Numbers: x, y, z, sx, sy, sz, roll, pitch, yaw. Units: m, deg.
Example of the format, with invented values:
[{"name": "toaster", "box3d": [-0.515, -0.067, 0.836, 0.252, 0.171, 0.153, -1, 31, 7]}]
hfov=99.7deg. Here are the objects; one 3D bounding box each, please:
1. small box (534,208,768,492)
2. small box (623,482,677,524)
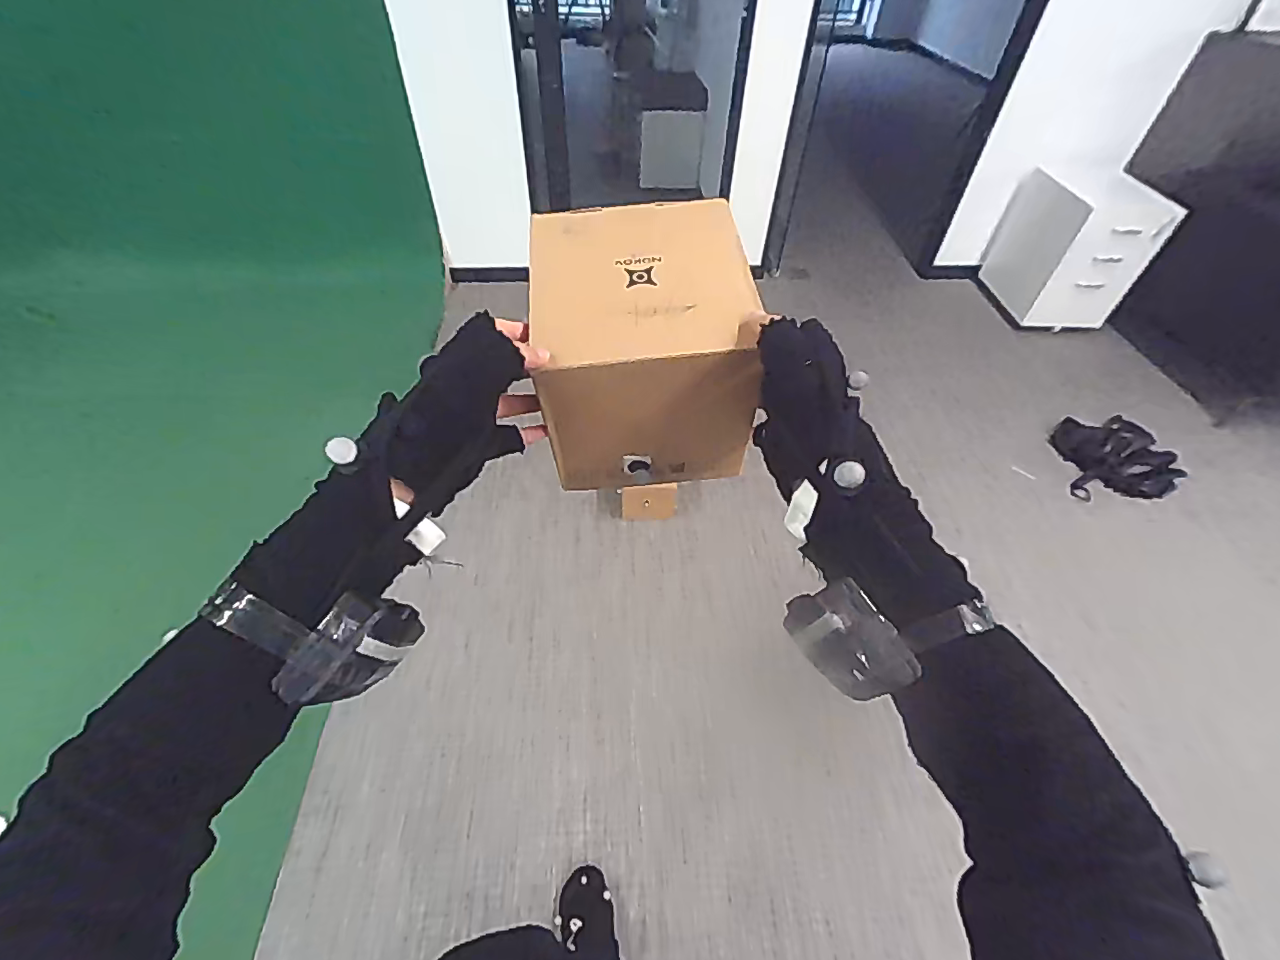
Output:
[{"name": "small box", "box3d": [0.002, -0.111, 0.486, 0.168, 0.176, 0.179, -7, 58, -2]}, {"name": "small box", "box3d": [0.030, 0.038, 1.842, 0.179, 0.176, 0.168, -1, 47, -1]}]
